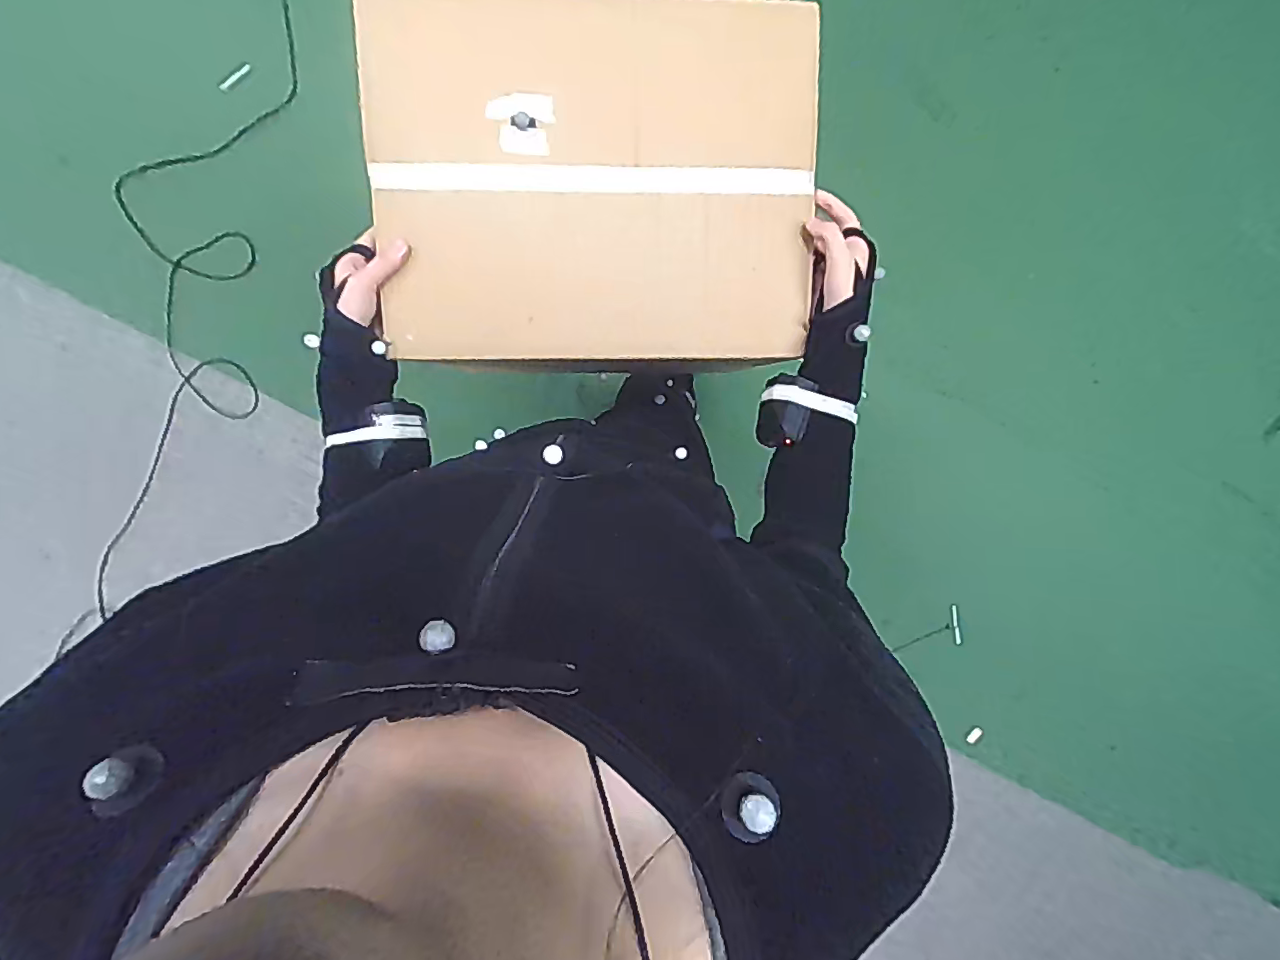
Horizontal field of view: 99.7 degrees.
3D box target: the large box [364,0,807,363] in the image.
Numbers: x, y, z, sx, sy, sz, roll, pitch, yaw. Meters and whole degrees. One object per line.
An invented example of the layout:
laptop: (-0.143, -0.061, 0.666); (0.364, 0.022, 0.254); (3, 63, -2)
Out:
large box: (-0.048, -0.307, 0.653); (0.408, 0.320, 0.320); (-2, 99, -3)
